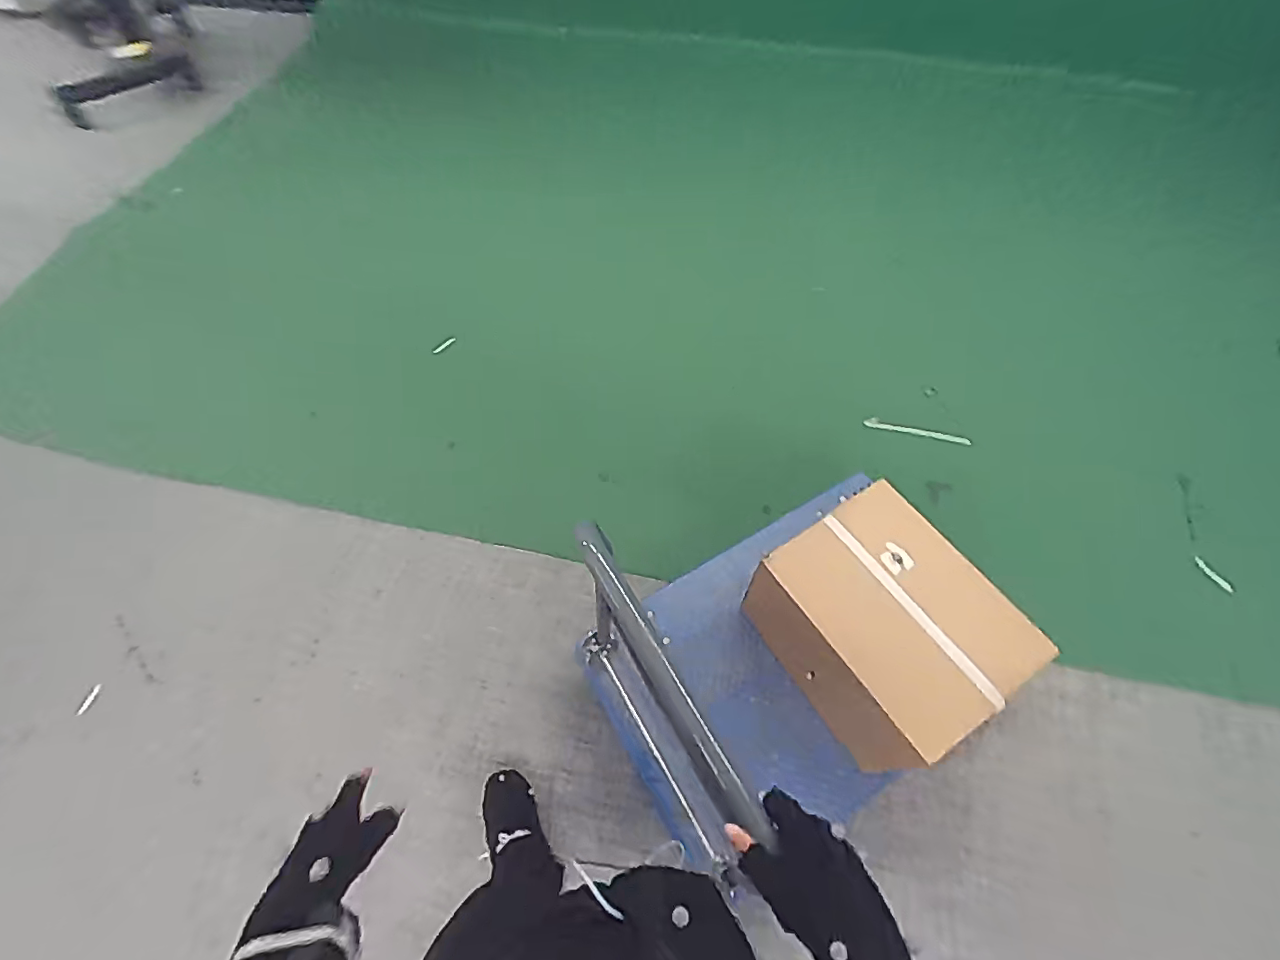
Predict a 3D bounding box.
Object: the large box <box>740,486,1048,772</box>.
[{"bbox_3d":[0.453,0.297,1.073,0.320,0.320,0.408,-29,62,-15],"label":"large box"}]
